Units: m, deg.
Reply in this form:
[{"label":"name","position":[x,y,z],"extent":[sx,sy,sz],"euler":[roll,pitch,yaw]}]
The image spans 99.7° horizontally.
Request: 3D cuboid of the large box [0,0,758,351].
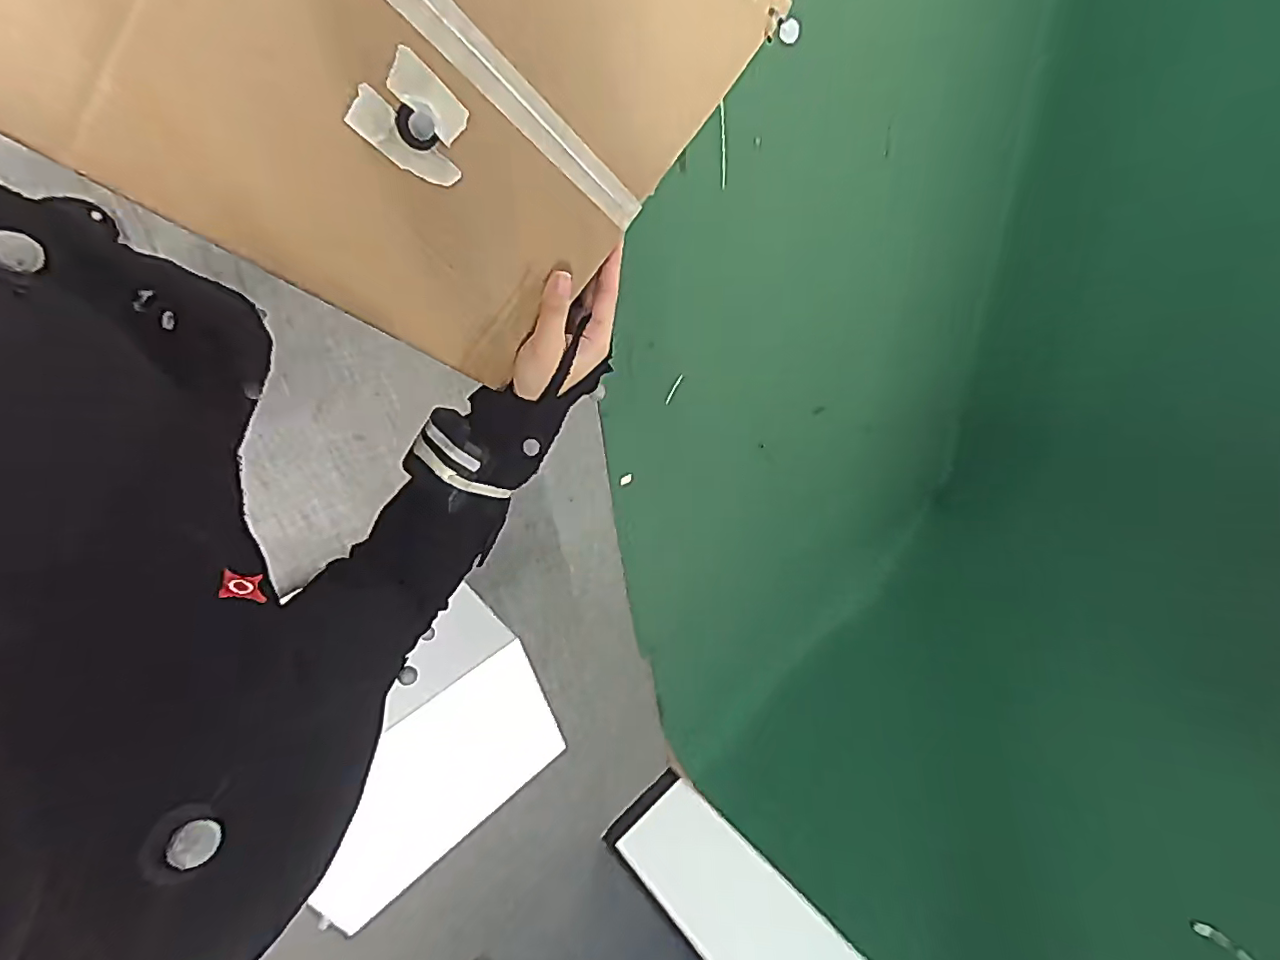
[{"label":"large box","position":[-0.203,-0.352,0.322],"extent":[0.320,0.320,0.408],"euler":[-48,141,15]}]
